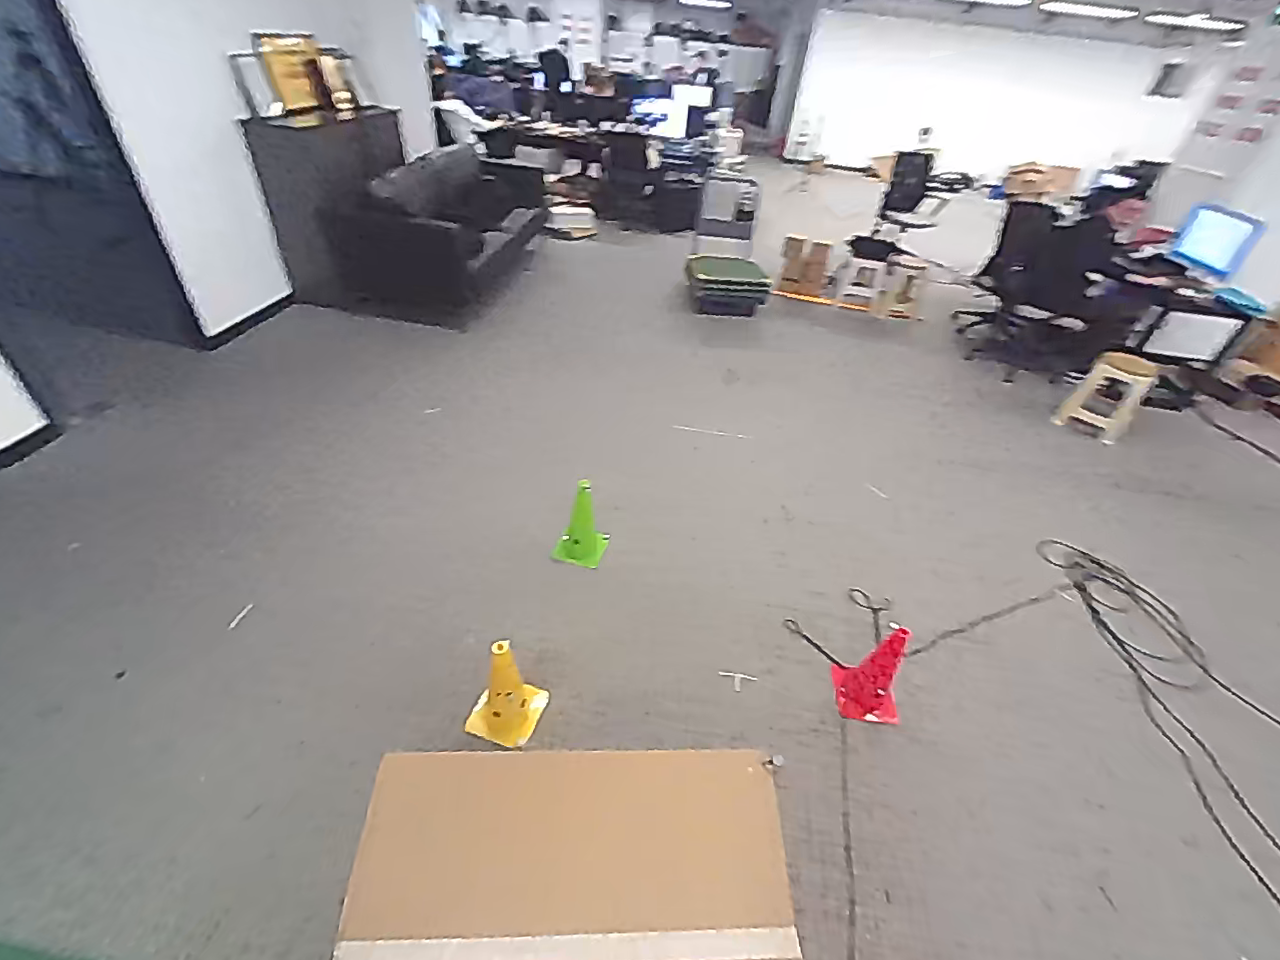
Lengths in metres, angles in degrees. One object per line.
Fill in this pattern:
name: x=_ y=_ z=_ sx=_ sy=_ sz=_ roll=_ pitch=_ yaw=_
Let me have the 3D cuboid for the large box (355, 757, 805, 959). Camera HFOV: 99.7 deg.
large box: x=-0.061 y=0.509 z=0.595 sx=0.408 sy=0.320 sz=0.320 roll=2 pitch=53 yaw=-4

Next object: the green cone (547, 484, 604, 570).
green cone: x=-0.255 y=0.159 z=2.171 sx=0.200 sy=0.368 sz=0.202 roll=12 pitch=40 yaw=7
